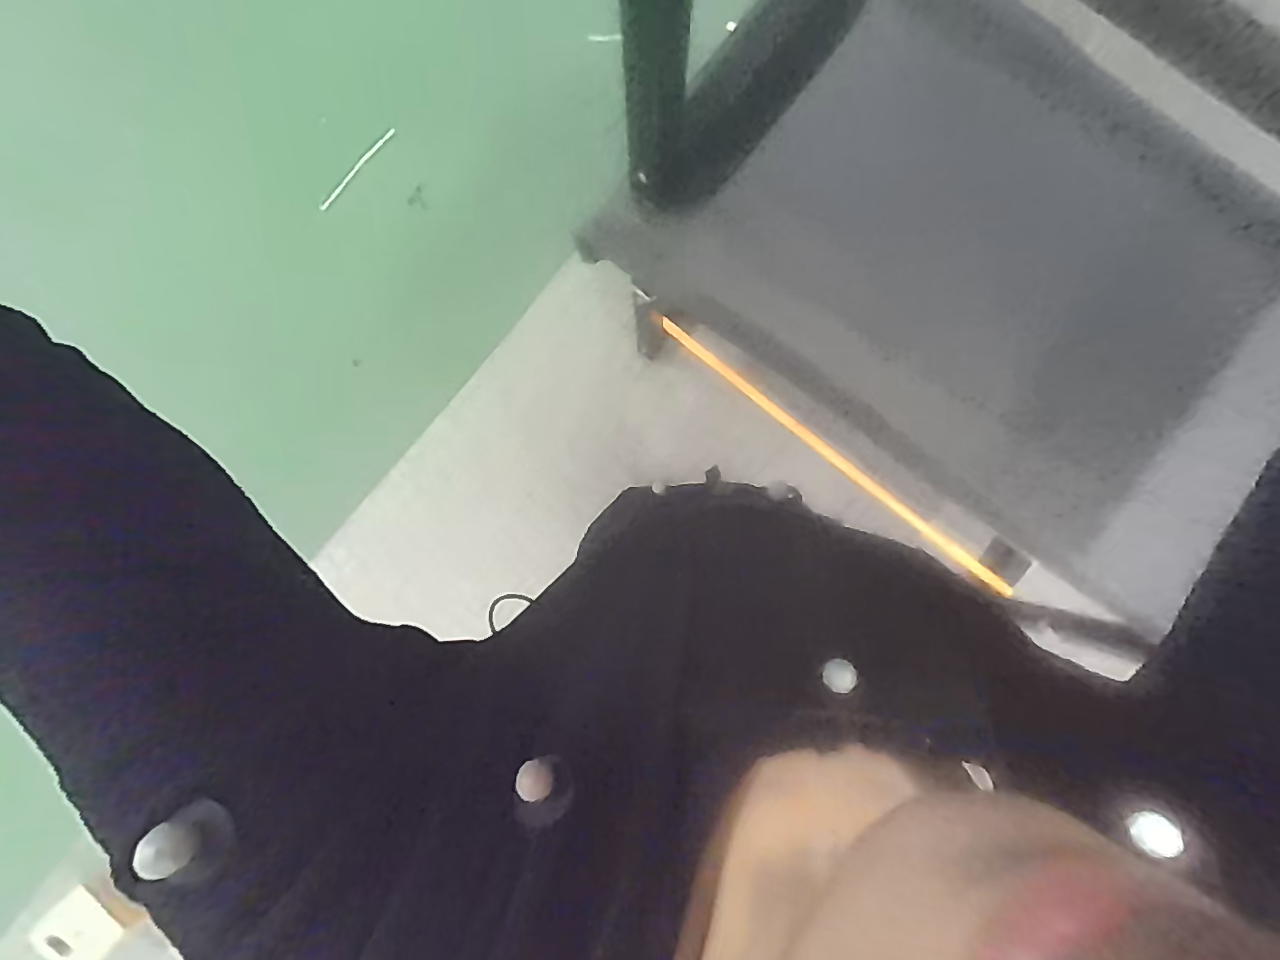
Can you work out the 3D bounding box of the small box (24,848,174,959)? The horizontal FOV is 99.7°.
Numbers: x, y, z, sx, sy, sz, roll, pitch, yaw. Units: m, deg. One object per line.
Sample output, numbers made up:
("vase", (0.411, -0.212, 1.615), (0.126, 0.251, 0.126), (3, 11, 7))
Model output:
("small box", (-1.351, 1.092, 1.365), (0.168, 0.176, 0.179), (43, 87, 3))
